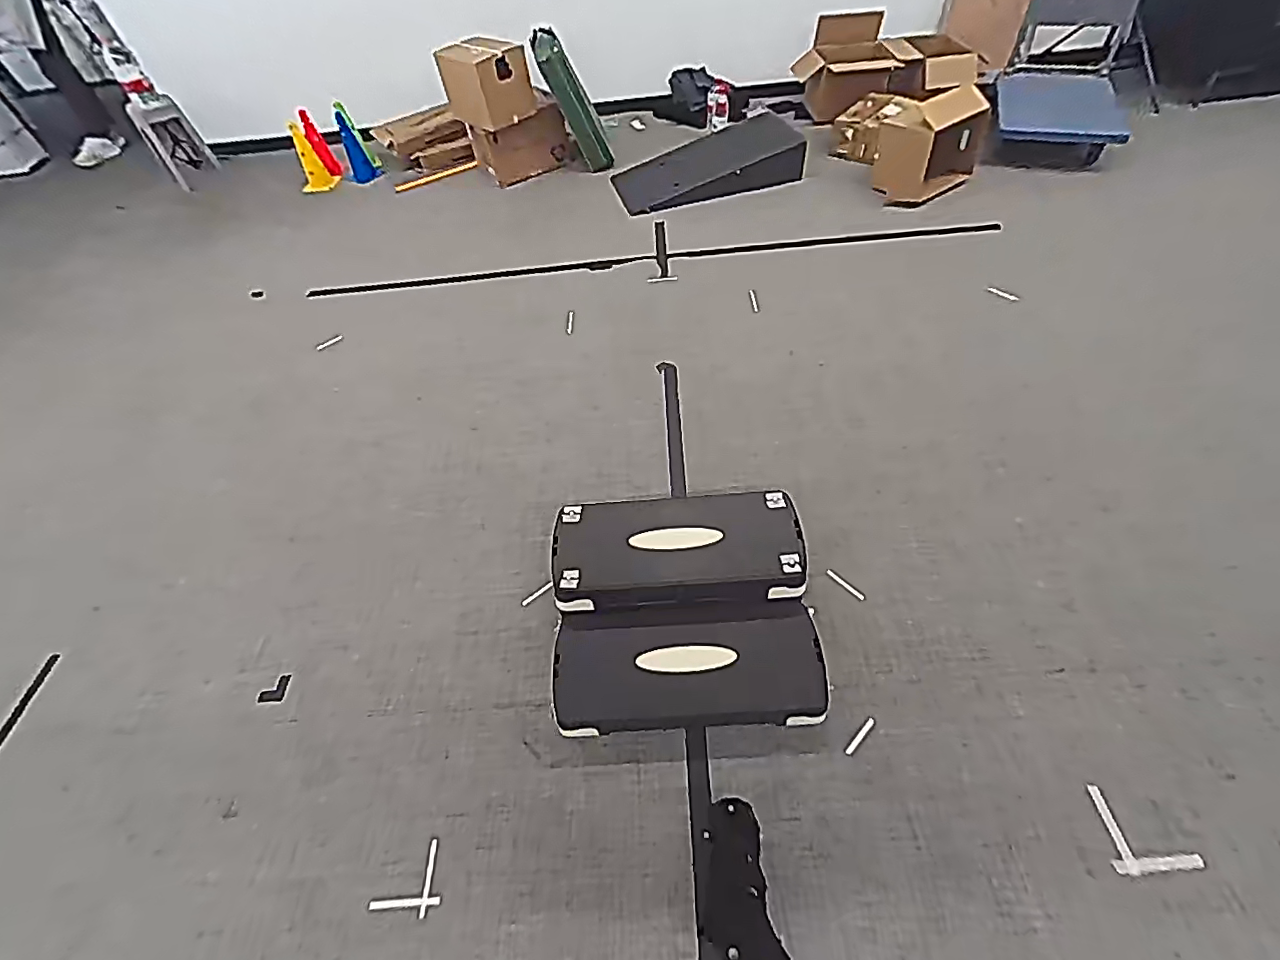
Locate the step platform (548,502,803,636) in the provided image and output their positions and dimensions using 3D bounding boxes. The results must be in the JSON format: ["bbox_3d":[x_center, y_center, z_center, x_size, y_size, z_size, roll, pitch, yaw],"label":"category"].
[{"bbox_3d":[0.091,0.240,1.487,0.684,0.204,0.286,-4,53,2],"label":"step platform"}]
